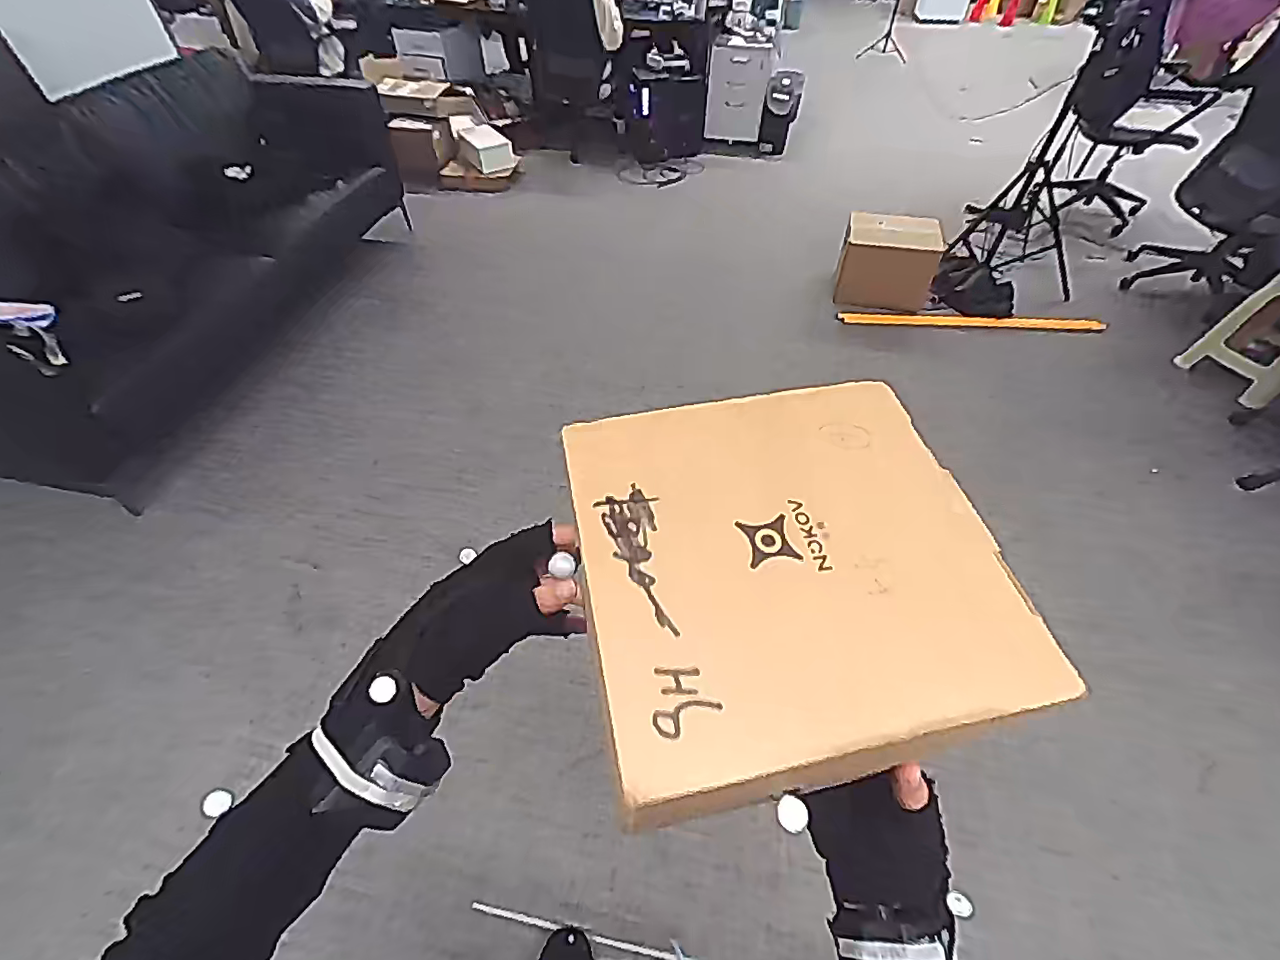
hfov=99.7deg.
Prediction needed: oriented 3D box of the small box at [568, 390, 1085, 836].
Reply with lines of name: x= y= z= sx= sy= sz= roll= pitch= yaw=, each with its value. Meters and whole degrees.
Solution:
small box: x=0.060 y=0.076 z=0.292 sx=0.179 sy=0.176 sz=0.168 roll=-8 pitch=55 yaw=-9
